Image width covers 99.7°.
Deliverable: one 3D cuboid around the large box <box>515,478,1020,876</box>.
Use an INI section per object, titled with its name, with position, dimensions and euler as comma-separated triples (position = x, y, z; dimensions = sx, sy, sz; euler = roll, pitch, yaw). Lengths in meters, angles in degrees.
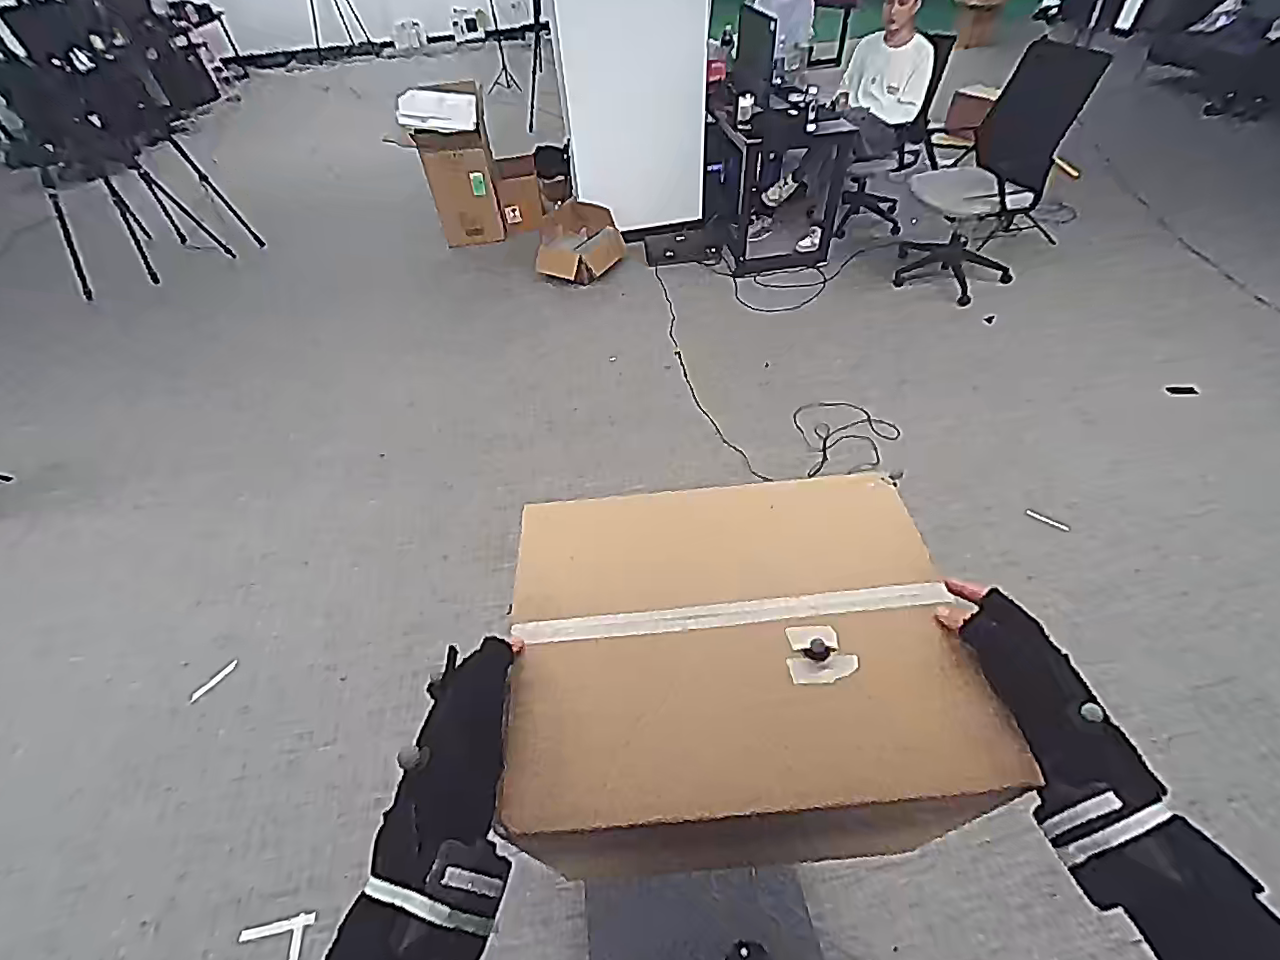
[large box]
position = 0.095, 0.230, 0.623
dimensions = 0.408, 0.320, 0.320
euler = -5, 48, 0
